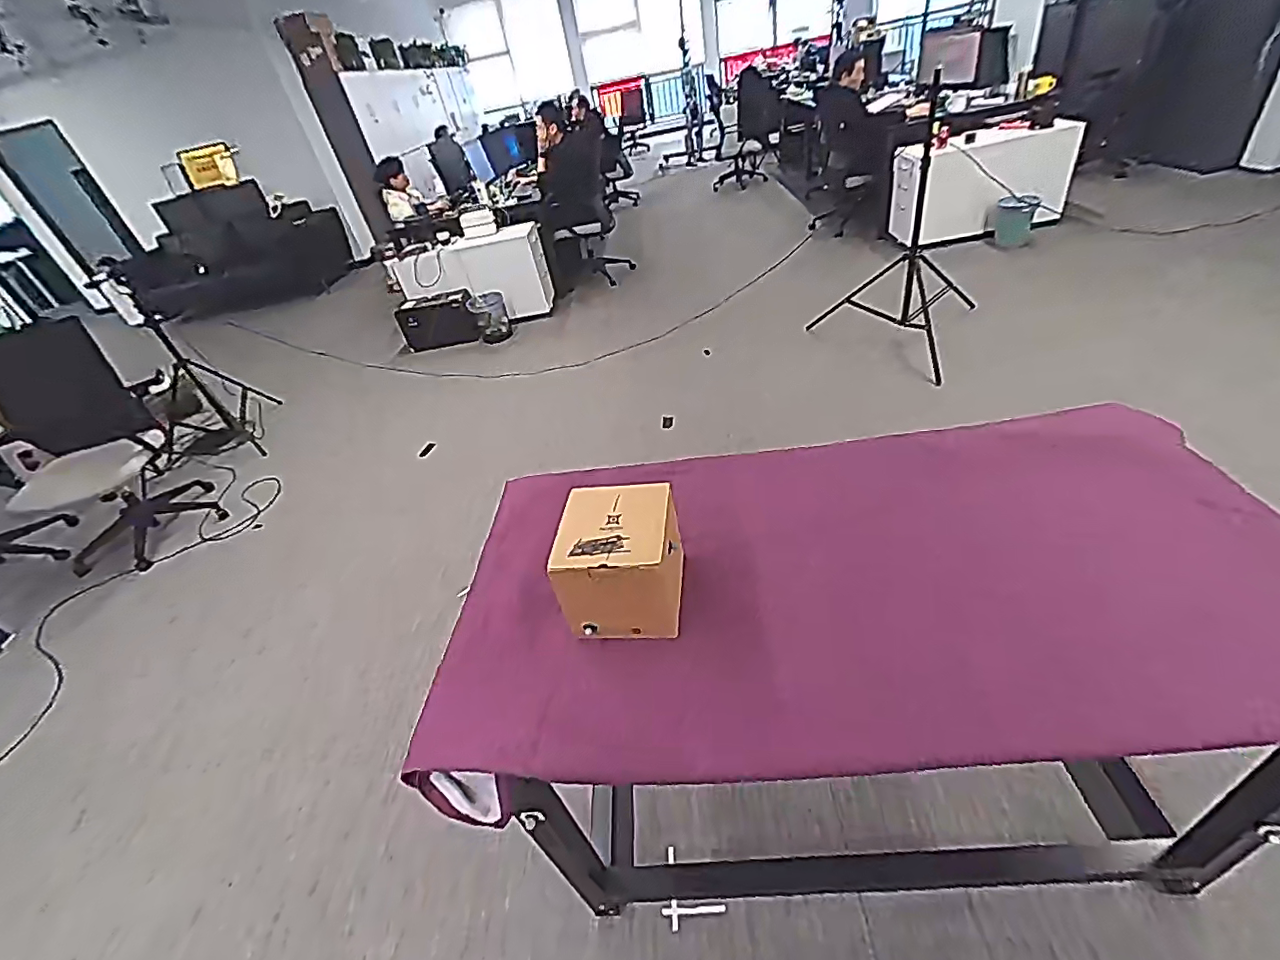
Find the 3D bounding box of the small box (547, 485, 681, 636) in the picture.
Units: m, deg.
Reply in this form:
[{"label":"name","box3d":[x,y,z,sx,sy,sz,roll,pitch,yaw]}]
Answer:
[{"label":"small box","box3d":[-0.028,0.130,0.854,0.168,0.176,0.179,-4,38,11]}]
